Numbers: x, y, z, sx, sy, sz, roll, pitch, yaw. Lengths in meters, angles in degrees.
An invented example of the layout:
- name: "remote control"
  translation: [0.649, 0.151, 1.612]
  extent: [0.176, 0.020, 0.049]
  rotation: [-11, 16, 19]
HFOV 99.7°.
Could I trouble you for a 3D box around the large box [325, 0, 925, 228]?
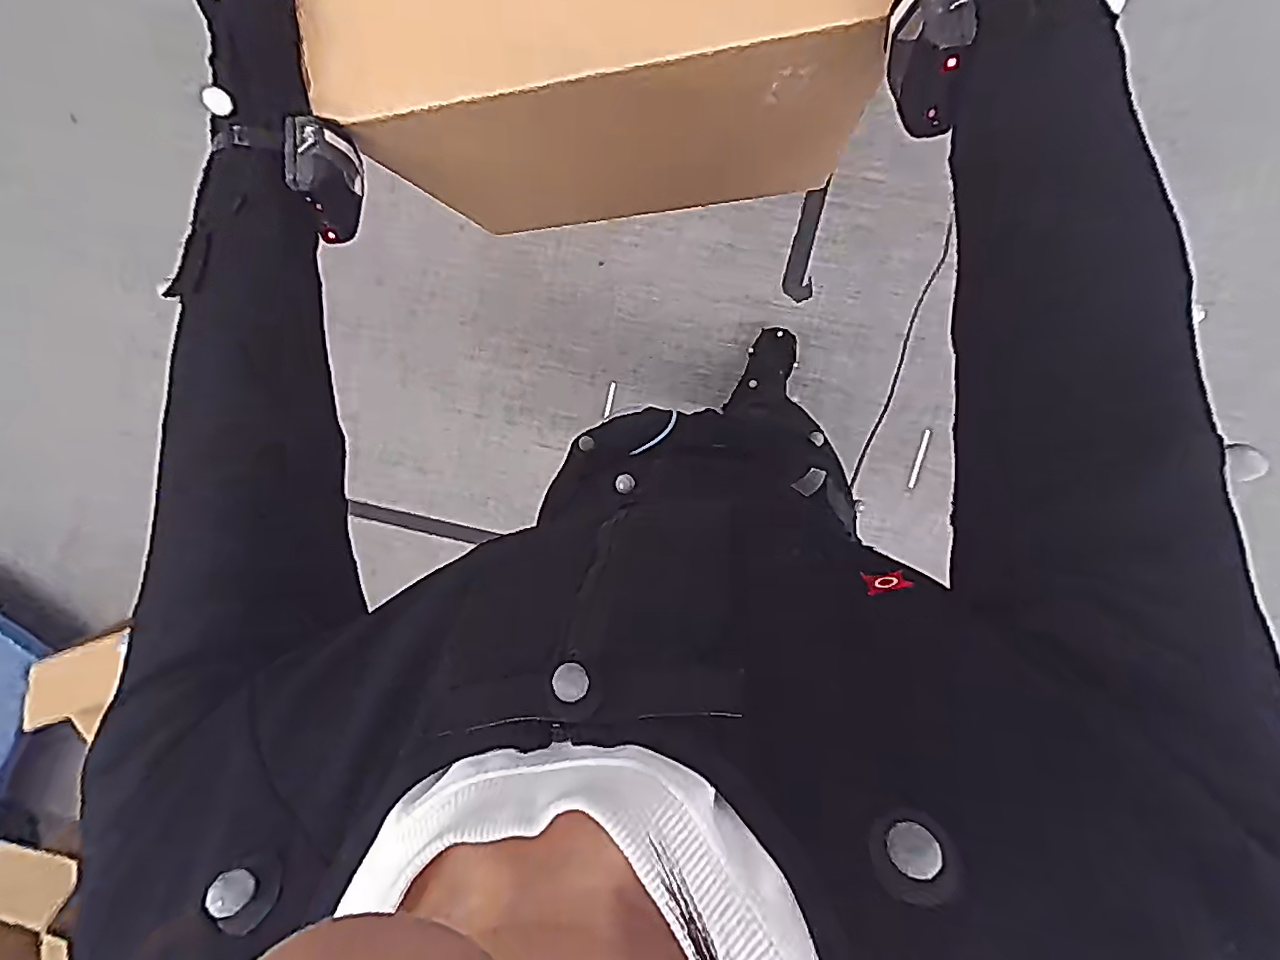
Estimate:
- name: "large box"
  translation: [-0.014, -0.452, 0.480]
  extent: [0.408, 0.320, 0.320]
  rotation: [-4, 101, 8]
